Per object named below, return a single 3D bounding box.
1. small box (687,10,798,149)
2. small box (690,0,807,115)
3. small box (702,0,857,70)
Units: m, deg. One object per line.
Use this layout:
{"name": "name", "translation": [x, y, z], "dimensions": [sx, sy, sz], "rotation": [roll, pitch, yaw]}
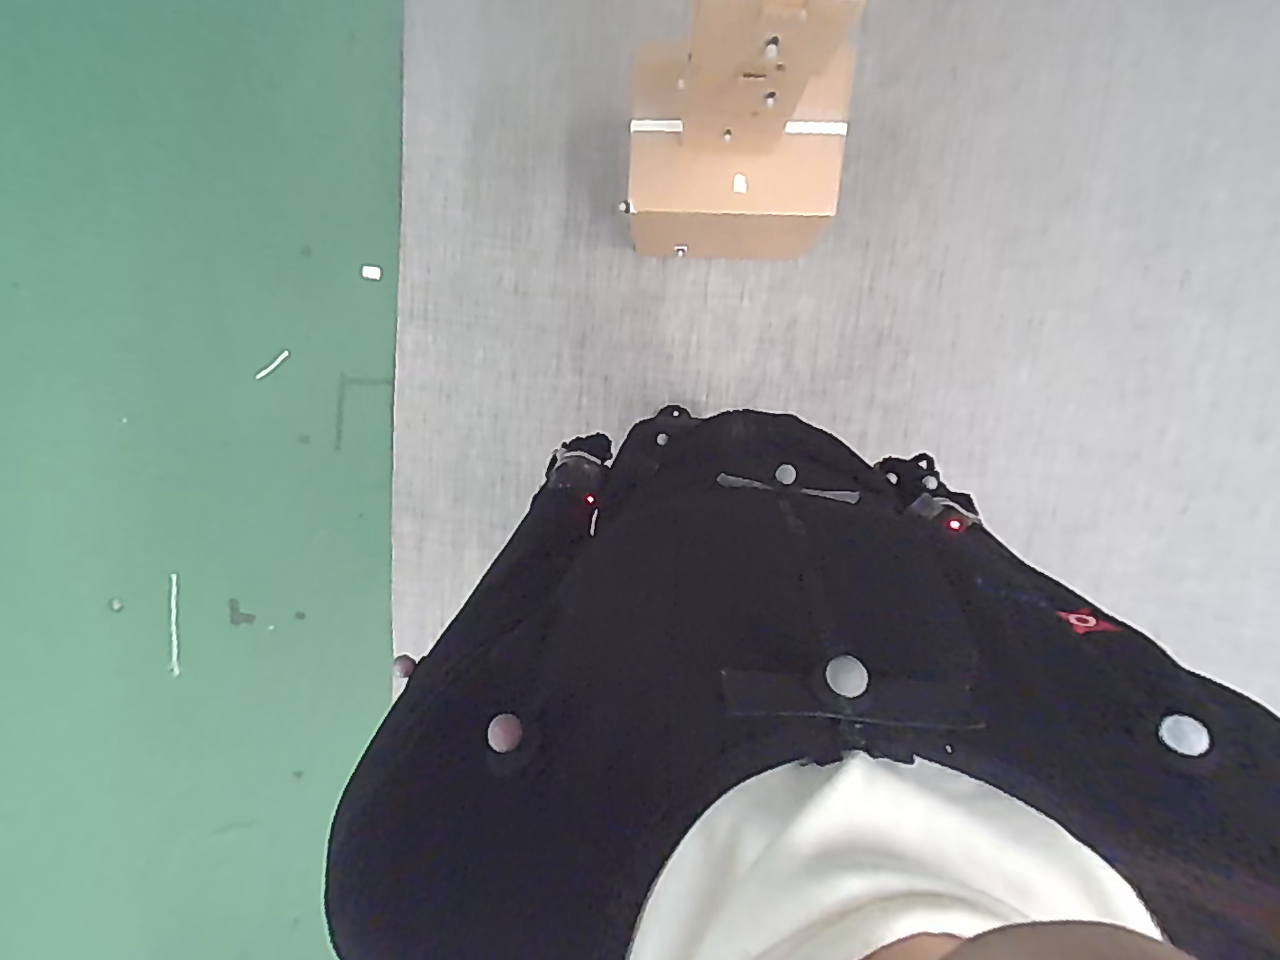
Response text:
{"name": "small box", "translation": [0.174, -0.693, 0.935], "dimensions": [0.179, 0.176, 0.168], "rotation": [3, 104, 4]}
{"name": "small box", "translation": [0.161, -0.655, 0.778], "dimensions": [0.168, 0.176, 0.179], "rotation": [4, 103, 3]}
{"name": "small box", "translation": [0.161, -0.608, 0.621], "dimensions": [0.168, 0.176, 0.179], "rotation": [4, 105, 3]}
